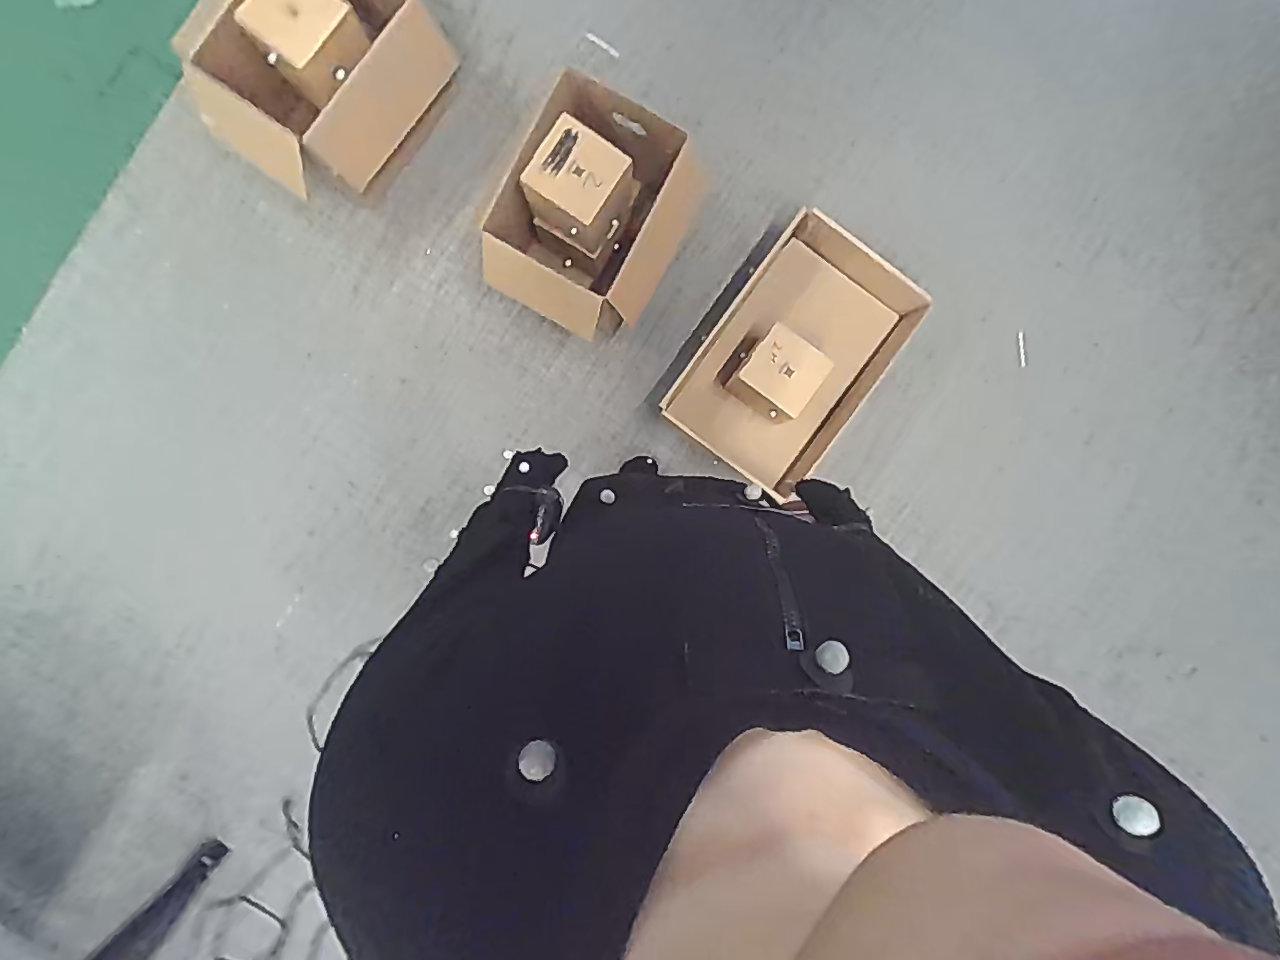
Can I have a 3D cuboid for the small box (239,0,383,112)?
[{"bbox_3d":[-0.710,-0.962,1.190,0.179,0.176,0.168,38,89,-2],"label":"small box"}]
